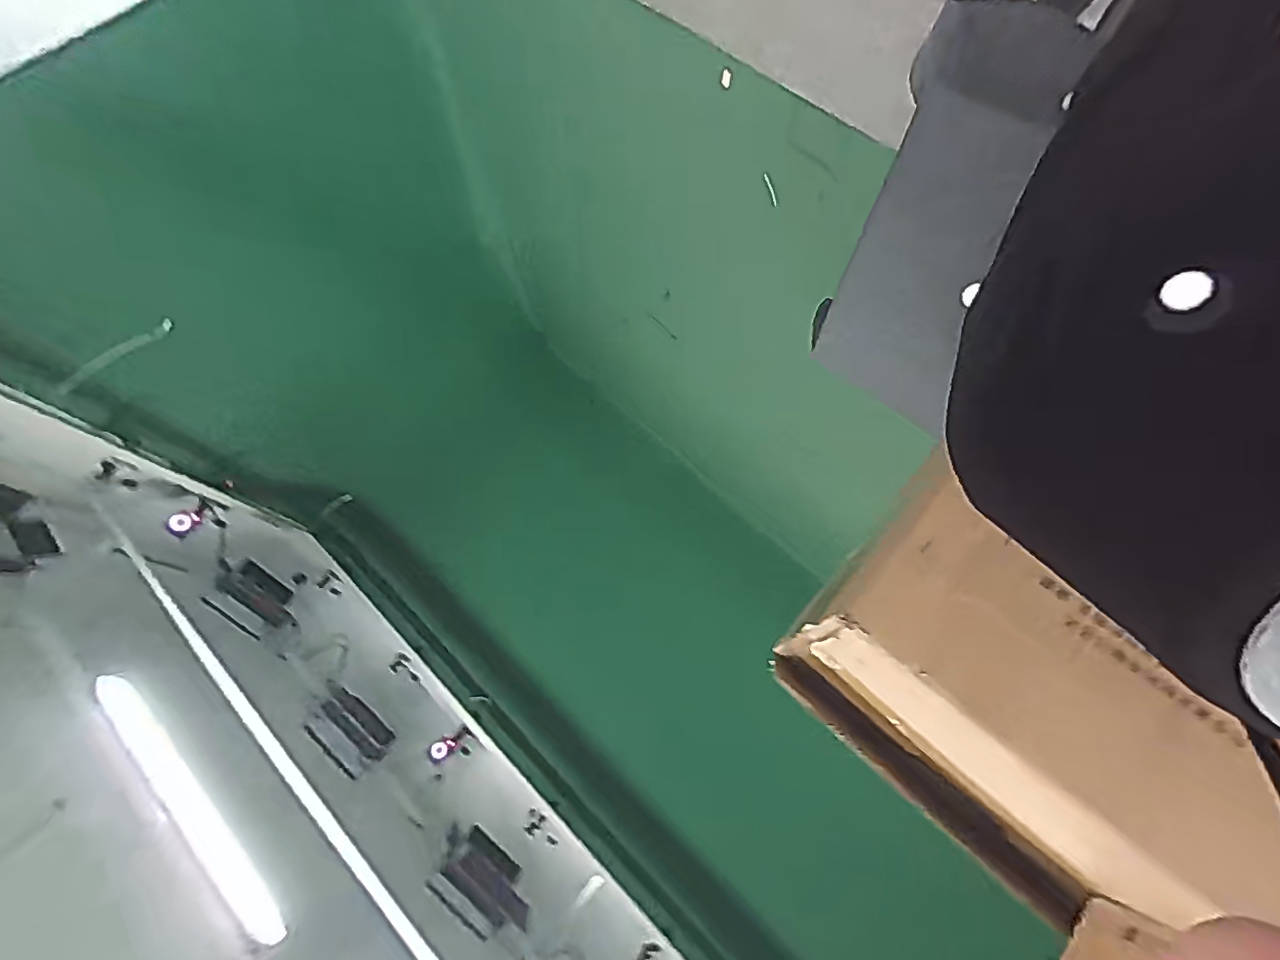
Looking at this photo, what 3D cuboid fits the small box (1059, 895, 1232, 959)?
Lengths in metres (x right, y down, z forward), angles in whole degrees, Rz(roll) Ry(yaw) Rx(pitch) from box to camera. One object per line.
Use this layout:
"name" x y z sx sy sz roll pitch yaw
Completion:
"small box" 0.475 0.502 0.439 0.179 0.176 0.168 38 163 16
